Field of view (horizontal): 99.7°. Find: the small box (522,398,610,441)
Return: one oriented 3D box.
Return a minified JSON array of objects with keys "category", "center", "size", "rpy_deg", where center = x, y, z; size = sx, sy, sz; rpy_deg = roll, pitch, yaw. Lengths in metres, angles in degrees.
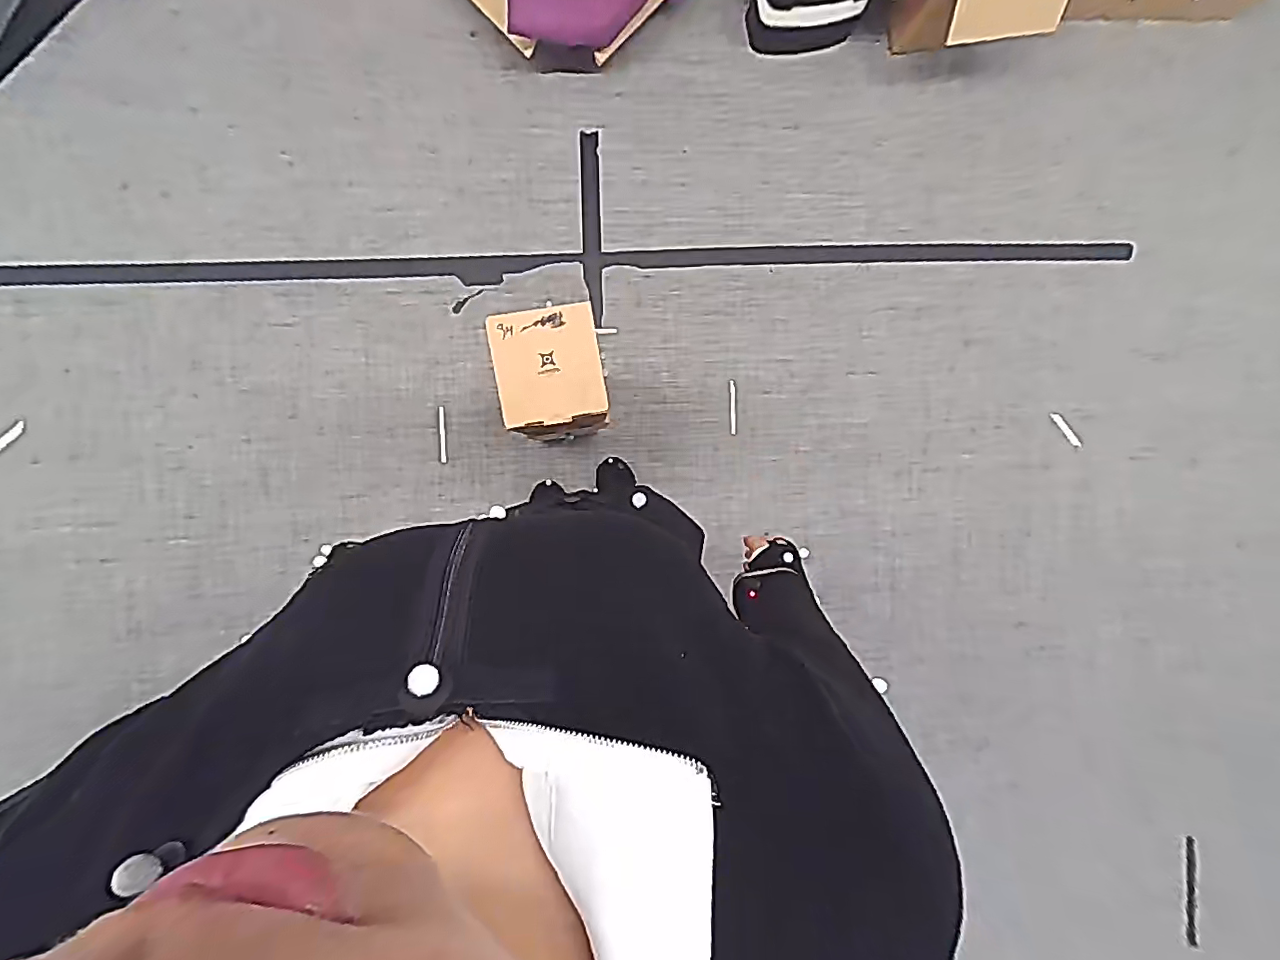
[{"category":"small box","center":[-0.157,-0.178,1.073],"size":[0.168,0.176,0.179],"rpy_deg":[-11,94,-3]}]

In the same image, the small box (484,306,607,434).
[{"category":"small box","center":[-0.148,-0.177,0.910],"size":[0.168,0.176,0.179],"rpy_deg":[-10,95,-4]}]
